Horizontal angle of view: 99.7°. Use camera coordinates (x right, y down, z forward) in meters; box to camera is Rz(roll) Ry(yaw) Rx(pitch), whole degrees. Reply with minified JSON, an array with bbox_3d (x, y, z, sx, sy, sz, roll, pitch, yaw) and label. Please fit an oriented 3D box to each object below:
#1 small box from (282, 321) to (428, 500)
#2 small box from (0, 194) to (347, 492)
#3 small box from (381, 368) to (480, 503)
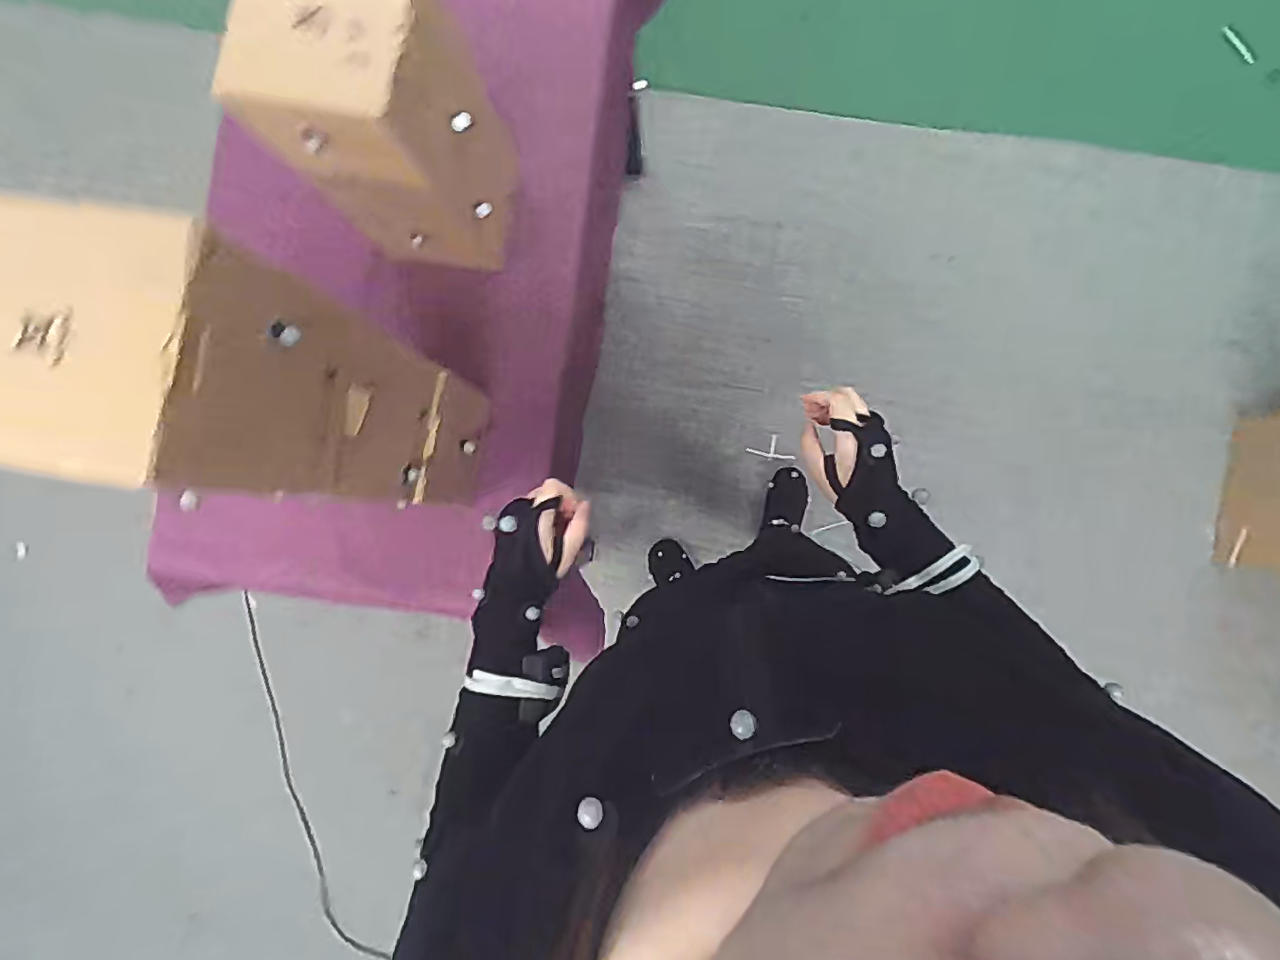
[{"bbox_3d":[-0.350,-0.076,0.567,0.179,0.176,0.168,10,88,5],"label":"small box"},{"bbox_3d":[-0.356,-0.083,0.404,0.179,0.176,0.168,8,87,4],"label":"small box"},{"bbox_3d":[-0.334,-0.064,0.731,0.179,0.176,0.168,10,87,3],"label":"small box"}]
